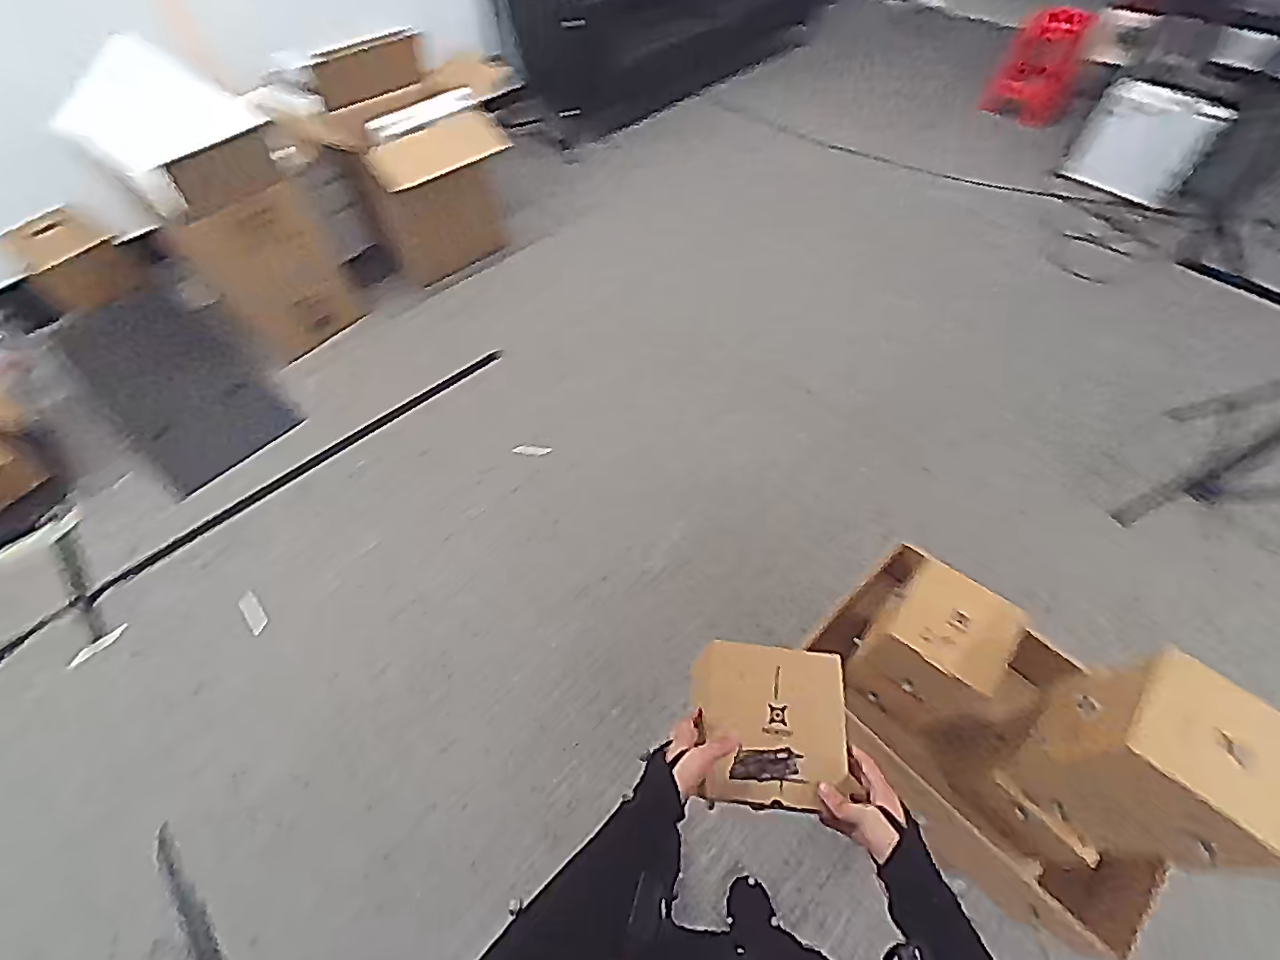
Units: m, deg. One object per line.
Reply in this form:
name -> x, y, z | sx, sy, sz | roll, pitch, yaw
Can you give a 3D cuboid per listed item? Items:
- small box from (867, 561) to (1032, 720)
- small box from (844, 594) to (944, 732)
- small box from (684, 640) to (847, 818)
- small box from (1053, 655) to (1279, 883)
small box -> 0.522, 0.280, 0.936 | 0.168, 0.176, 0.179 | 34, 64, 23
small box -> 0.533, 0.366, 1.076 | 0.168, 0.176, 0.179 | 34, 63, 23
small box -> 0.151, 0.322, 0.701 | 0.168, 0.176, 0.179 | 7, 61, 0
small box -> 0.681, 0.357, 0.675 | 0.168, 0.176, 0.179 | -40, 63, -23
